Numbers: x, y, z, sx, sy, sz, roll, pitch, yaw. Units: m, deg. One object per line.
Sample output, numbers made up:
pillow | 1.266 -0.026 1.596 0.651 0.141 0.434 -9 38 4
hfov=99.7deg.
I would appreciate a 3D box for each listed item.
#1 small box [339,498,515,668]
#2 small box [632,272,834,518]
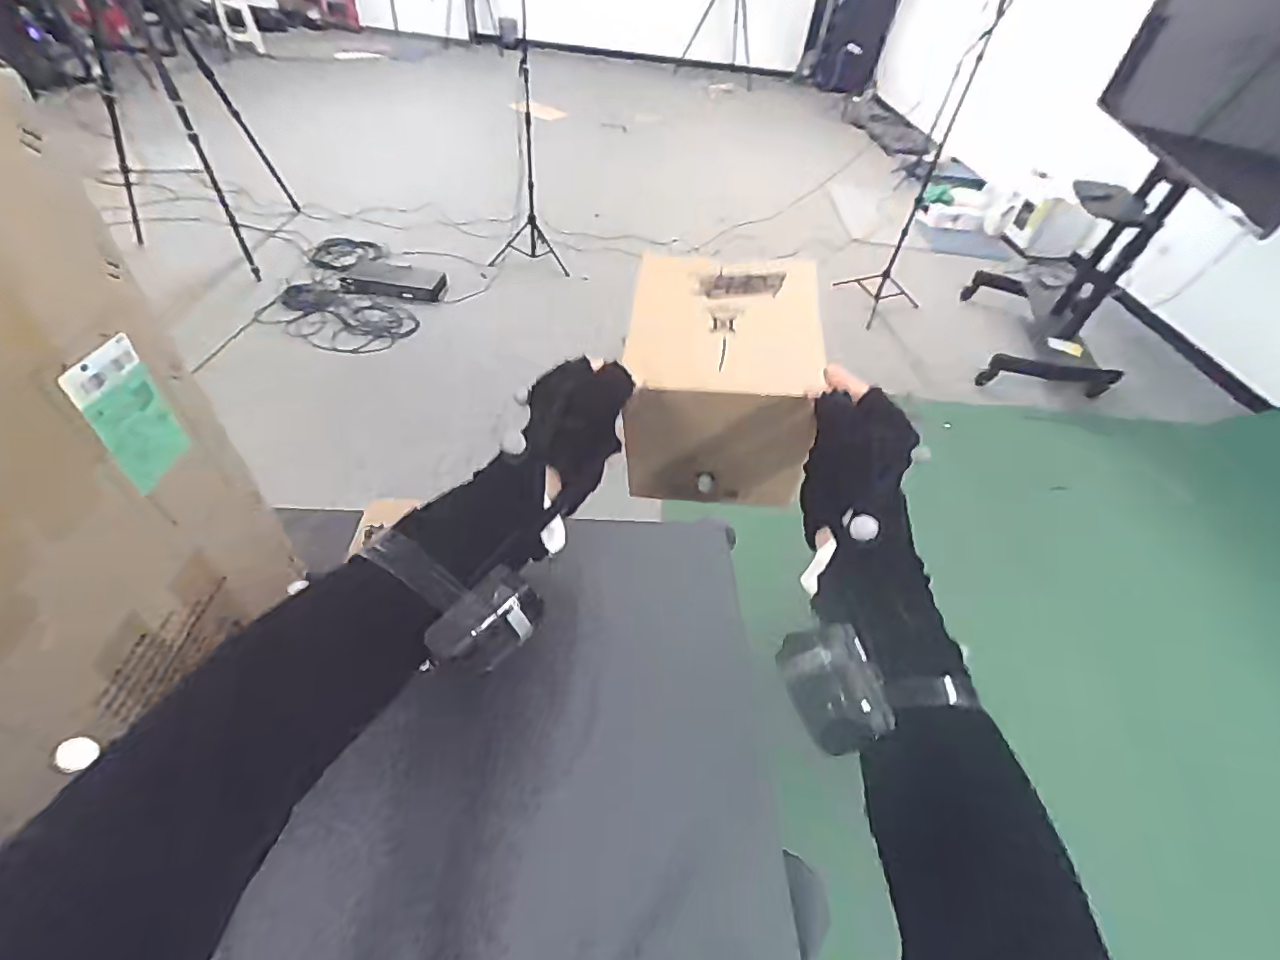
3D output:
small box | -0.272 0.145 0.743 0.179 0.176 0.168 4 46 -5
small box | 0.086 -0.083 0.547 0.168 0.176 0.179 4 56 6
